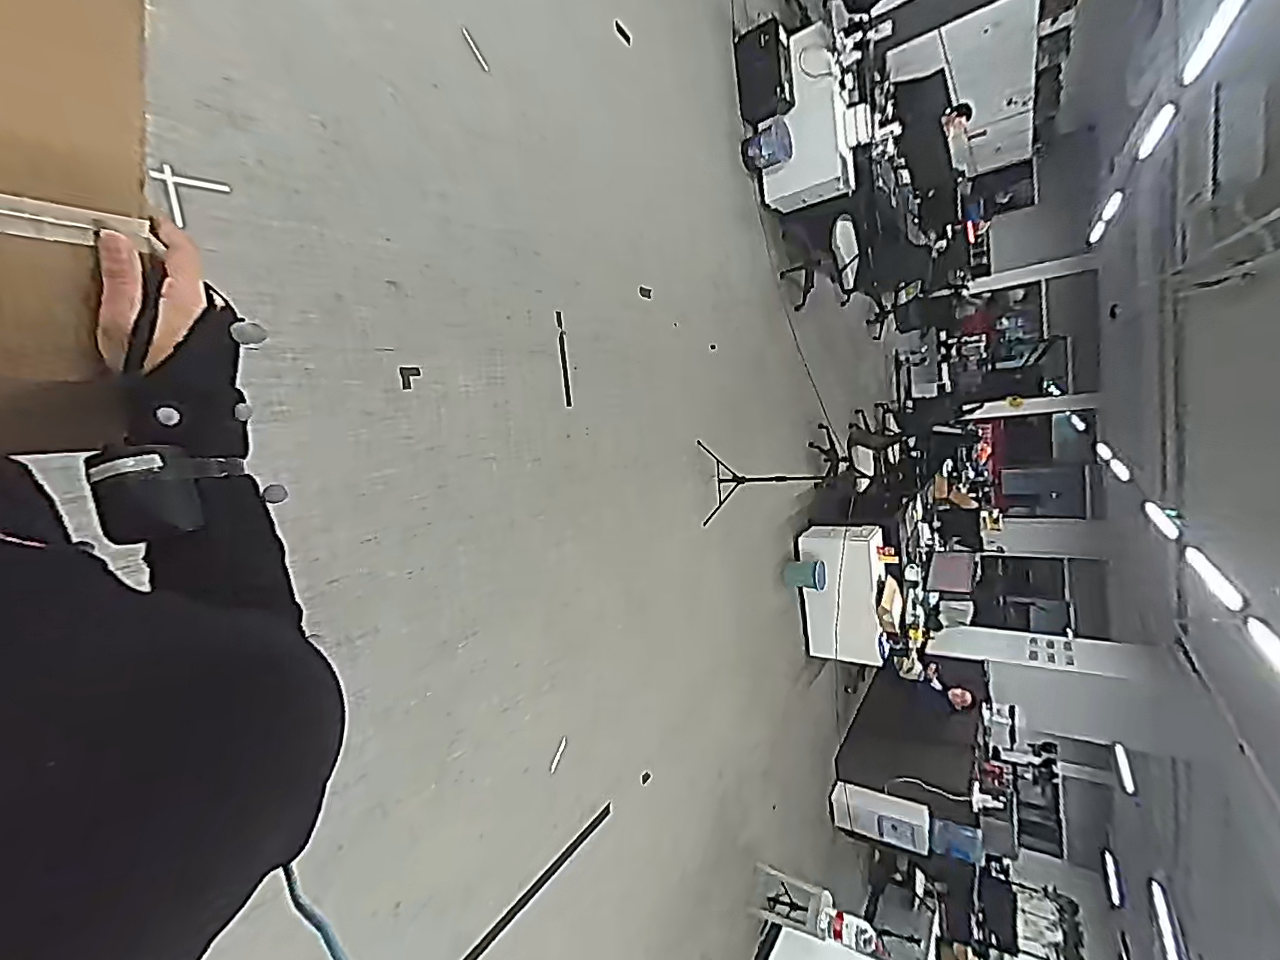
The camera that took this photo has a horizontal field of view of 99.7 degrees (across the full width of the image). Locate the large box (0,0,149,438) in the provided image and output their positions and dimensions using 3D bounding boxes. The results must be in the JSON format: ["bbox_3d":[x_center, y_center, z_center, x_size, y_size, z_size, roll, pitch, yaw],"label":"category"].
[{"bbox_3d":[-0.554,-0.215,0.265,0.408,0.320,0.320,-13,134,-53],"label":"large box"}]
